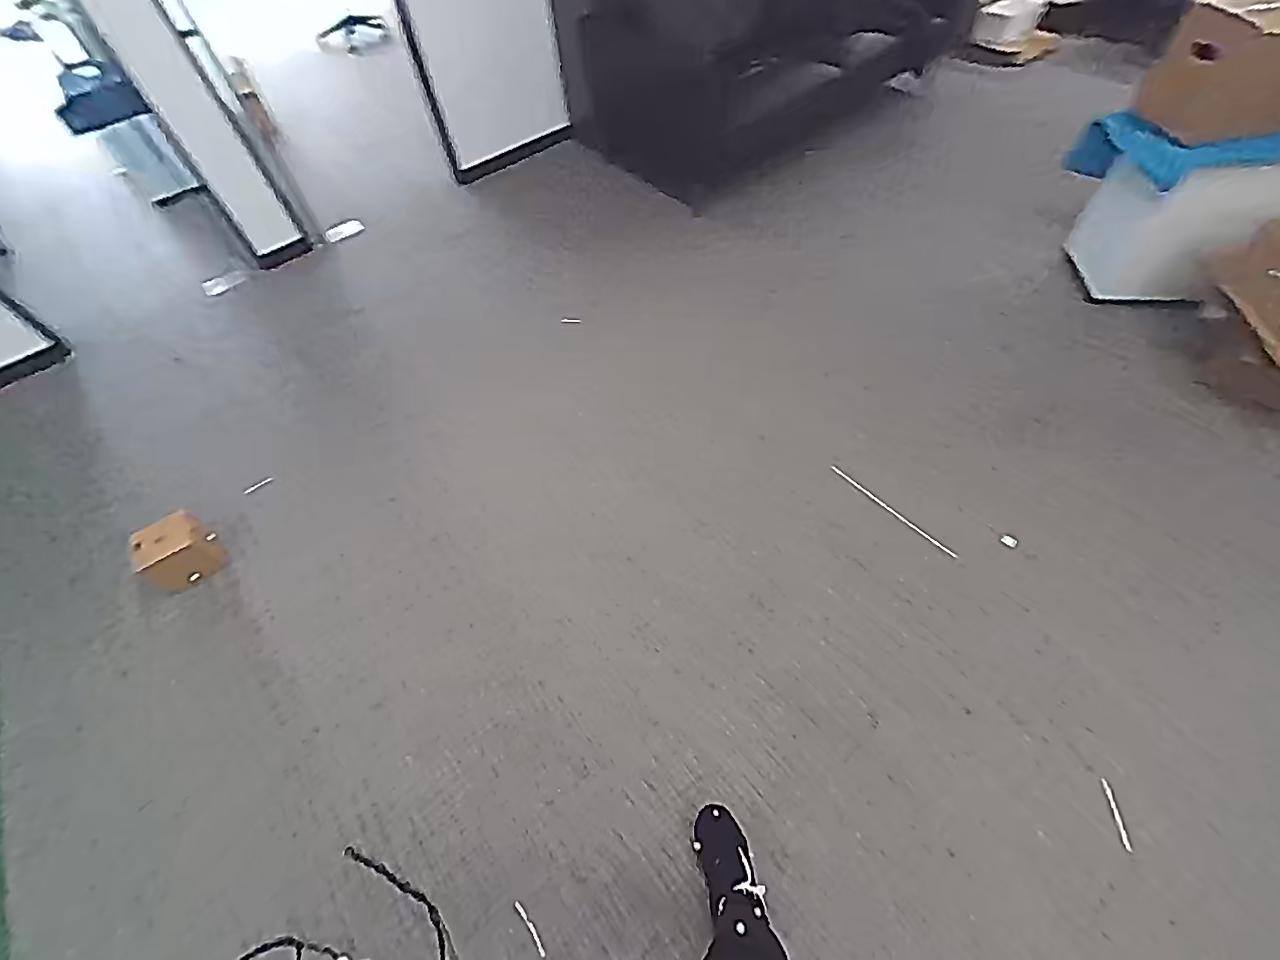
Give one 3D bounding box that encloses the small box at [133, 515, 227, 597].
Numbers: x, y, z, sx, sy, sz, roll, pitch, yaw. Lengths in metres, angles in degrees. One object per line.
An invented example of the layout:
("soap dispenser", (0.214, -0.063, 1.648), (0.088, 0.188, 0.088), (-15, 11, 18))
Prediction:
("small box", (-1.521, 0.255, 1.801), (0.179, 0.176, 0.168), (-32, 58, -17))
